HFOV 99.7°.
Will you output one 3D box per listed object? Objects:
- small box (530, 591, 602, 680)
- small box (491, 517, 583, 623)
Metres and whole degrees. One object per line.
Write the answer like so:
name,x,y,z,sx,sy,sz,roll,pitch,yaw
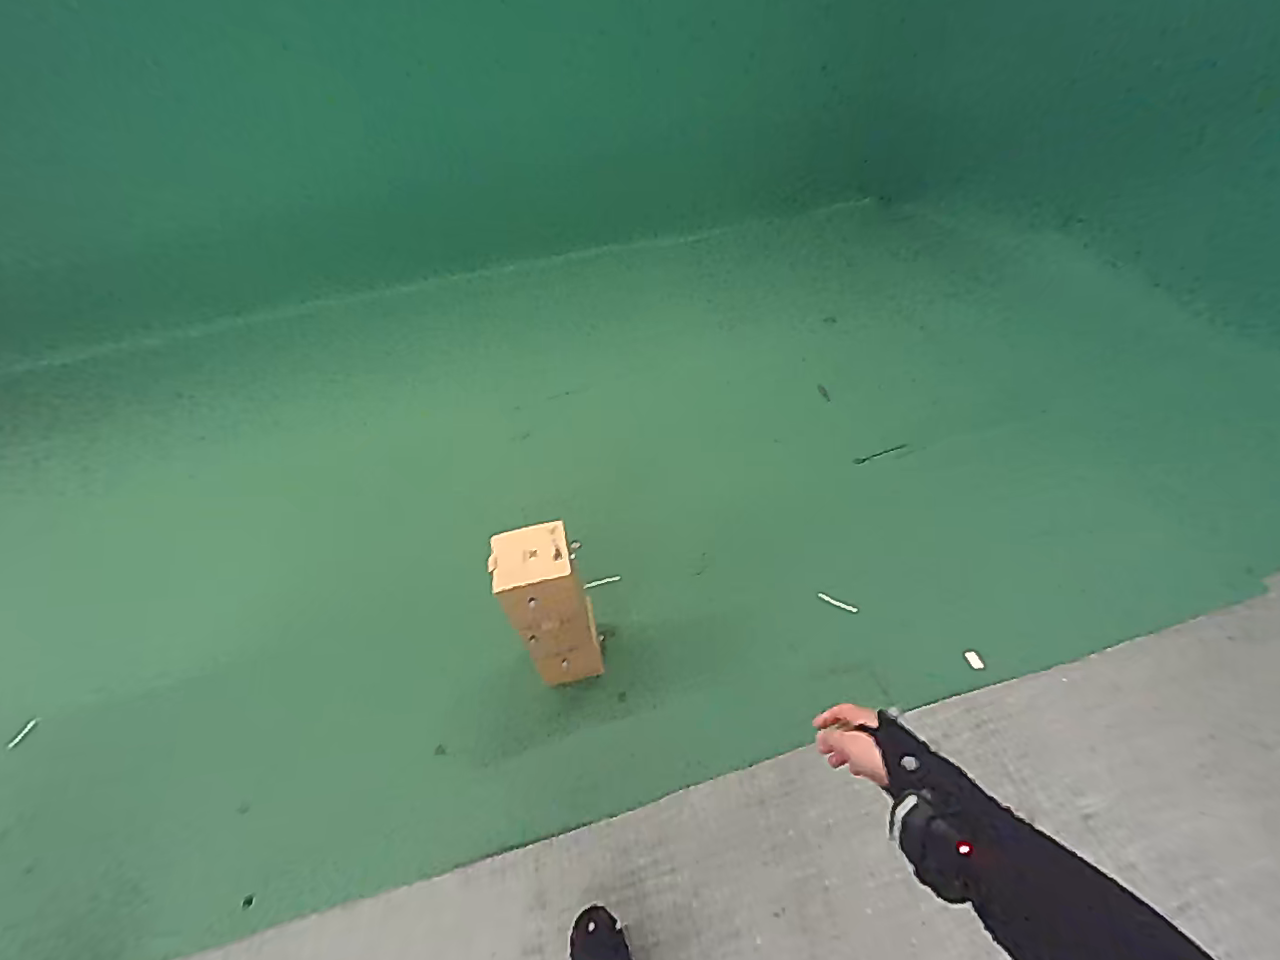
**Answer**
small box,-0.207,0.442,1.529,0.179,0.176,0.168,-12,47,-5
small box,-0.245,0.218,1.291,0.179,0.176,0.168,-13,46,-5
